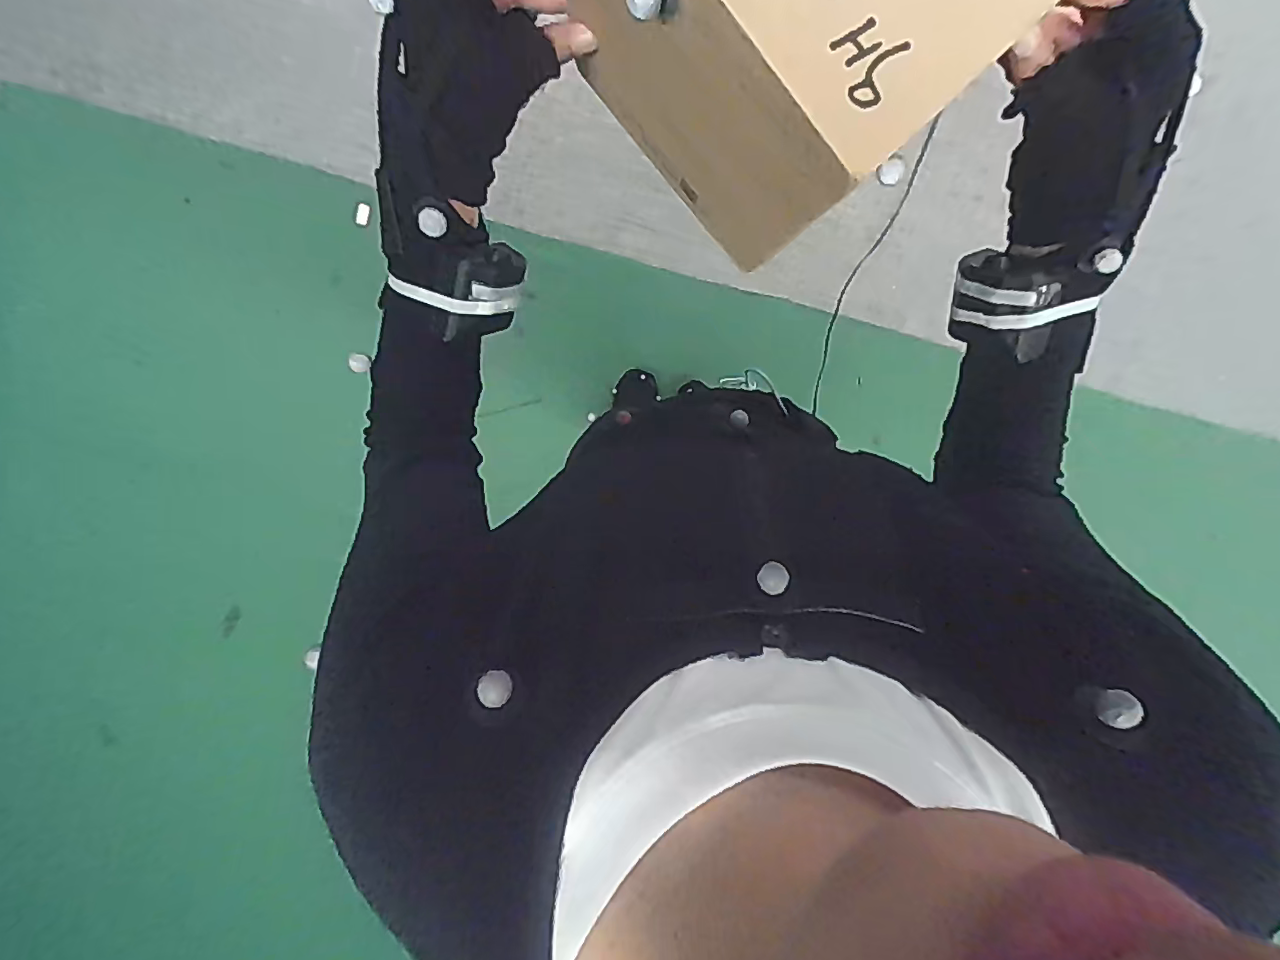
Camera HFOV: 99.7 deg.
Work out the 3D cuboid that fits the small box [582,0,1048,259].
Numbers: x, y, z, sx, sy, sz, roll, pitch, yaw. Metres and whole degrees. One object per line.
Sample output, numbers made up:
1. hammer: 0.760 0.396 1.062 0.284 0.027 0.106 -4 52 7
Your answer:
1. small box: 0.082 -0.240 0.254 0.179 0.176 0.168 -41 98 5
